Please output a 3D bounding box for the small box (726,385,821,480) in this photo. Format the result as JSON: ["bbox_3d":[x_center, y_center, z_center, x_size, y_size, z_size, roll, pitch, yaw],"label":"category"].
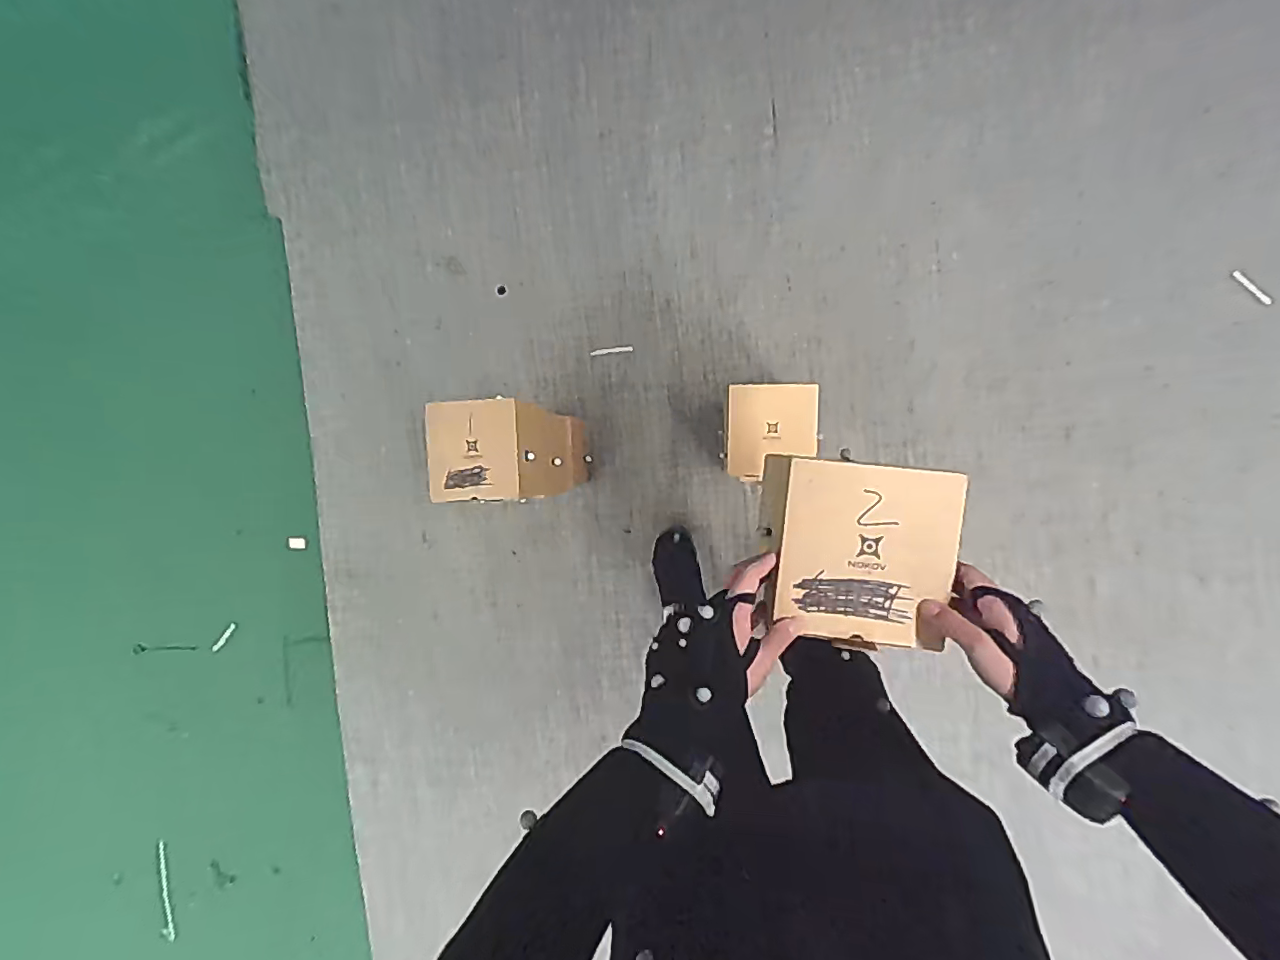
[{"bbox_3d":[0.260,-0.092,1.086,0.168,0.176,0.179,1,93,8],"label":"small box"}]

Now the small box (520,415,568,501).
[{"bbox_3d":[-0.256,-0.051,1.163,0.168,0.176,0.179,0,94,8],"label":"small box"}]

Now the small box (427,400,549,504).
[{"bbox_3d":[-0.271,-0.052,0.999,0.168,0.176,0.179,-2,93,9],"label":"small box"}]

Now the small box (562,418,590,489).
[{"bbox_3d":[-0.228,-0.064,1.324,0.179,0.176,0.168,0,93,8],"label":"small box"}]
